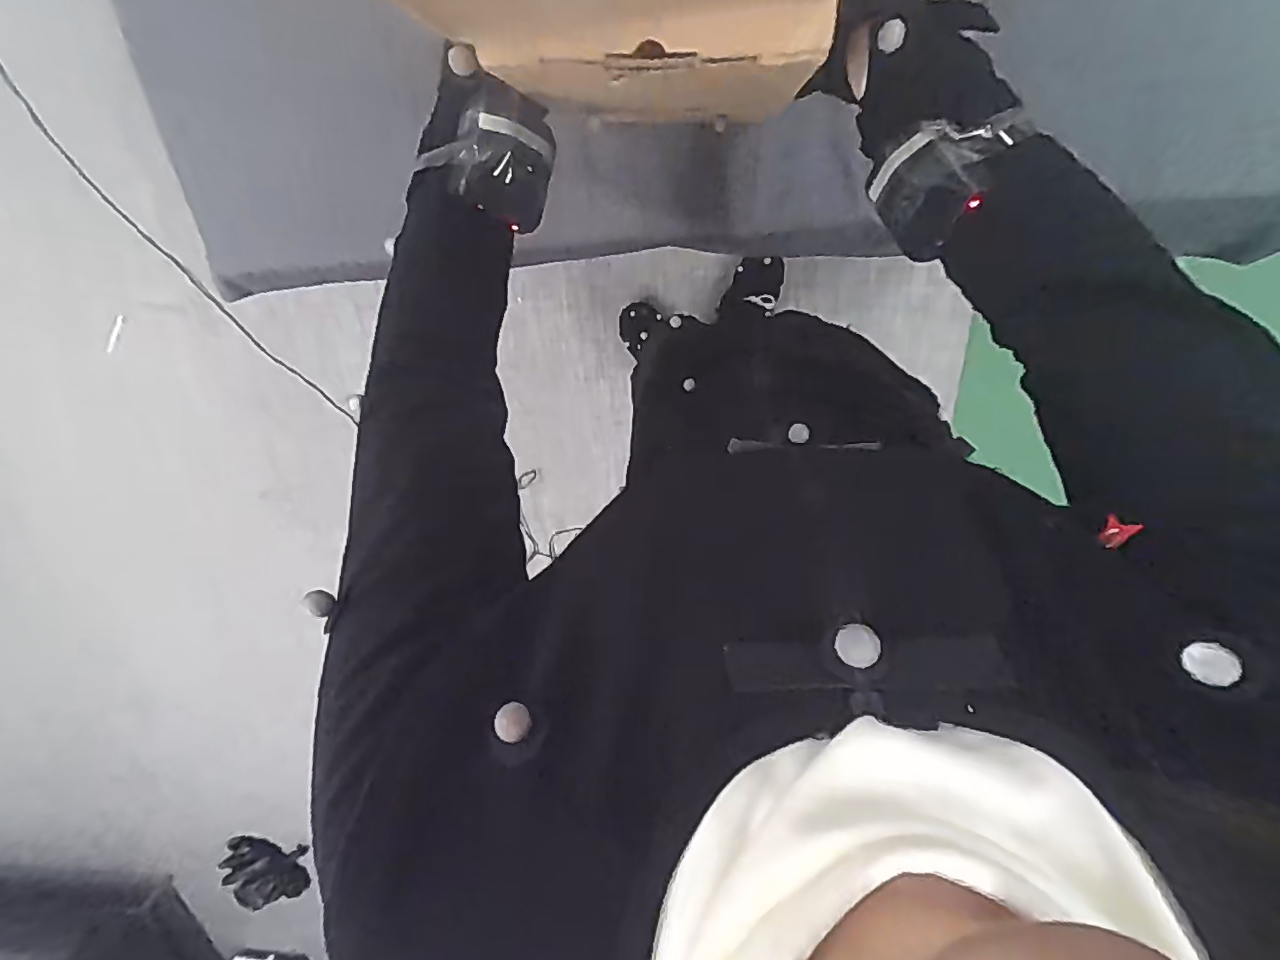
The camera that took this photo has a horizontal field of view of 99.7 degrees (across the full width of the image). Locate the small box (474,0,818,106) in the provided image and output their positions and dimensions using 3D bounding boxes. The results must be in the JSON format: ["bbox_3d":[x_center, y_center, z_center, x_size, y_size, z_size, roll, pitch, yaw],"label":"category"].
[{"bbox_3d":[0.006,-0.314,0.289,0.168,0.176,0.179,0,117,7],"label":"small box"}]

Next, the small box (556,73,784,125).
[{"bbox_3d":[0.025,-0.393,0.431,0.179,0.176,0.168,3,116,7],"label":"small box"}]
